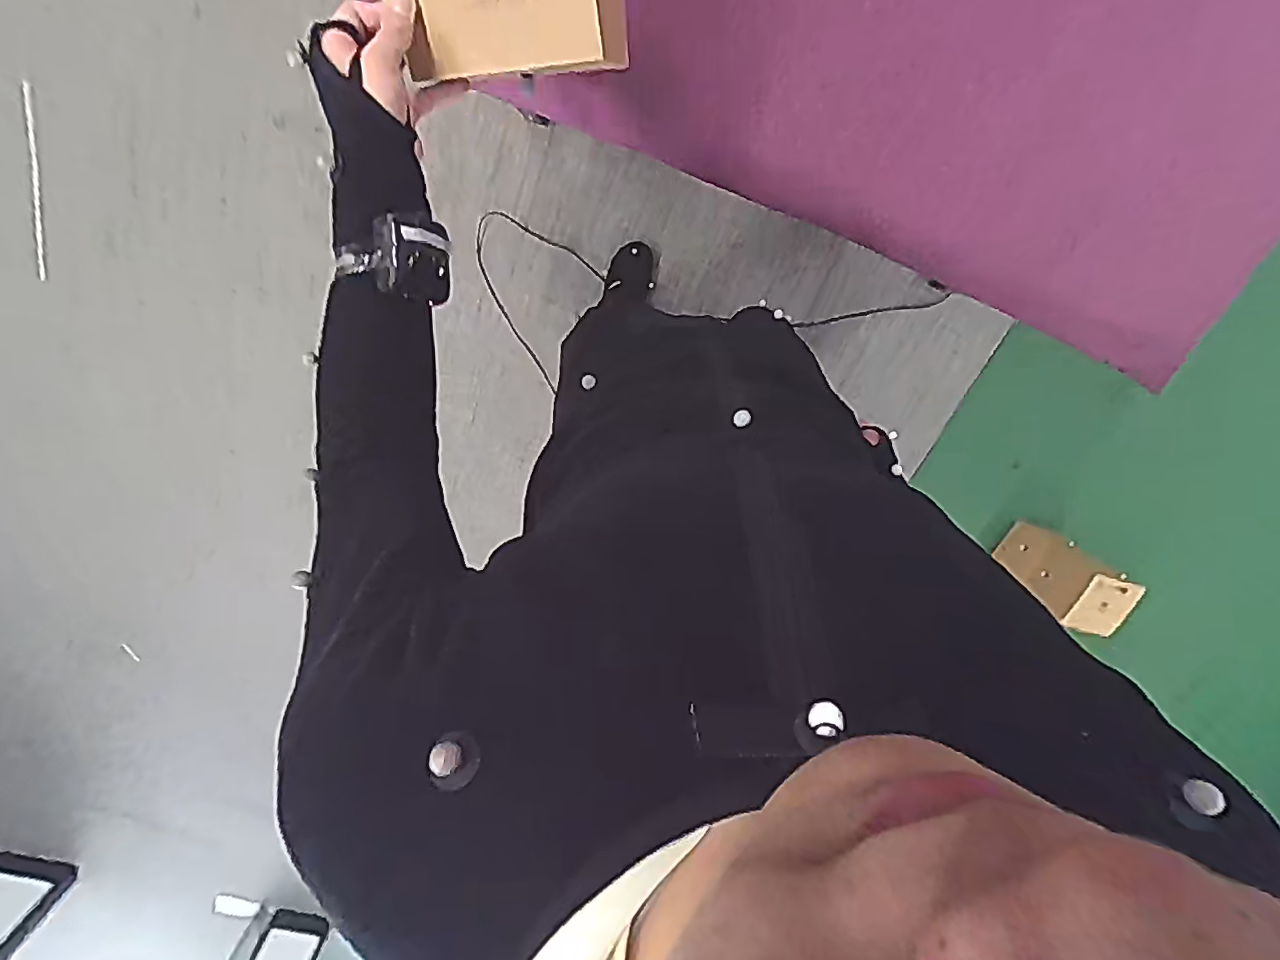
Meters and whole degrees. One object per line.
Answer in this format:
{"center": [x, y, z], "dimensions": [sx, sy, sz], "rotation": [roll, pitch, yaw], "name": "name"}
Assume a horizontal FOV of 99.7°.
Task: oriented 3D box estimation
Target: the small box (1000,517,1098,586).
{"center": [1.294, 0.238, 1.705], "dimensions": [0.179, 0.176, 0.168], "rotation": [18, 113, -8], "name": "small box"}

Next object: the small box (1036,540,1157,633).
{"center": [1.295, 0.303, 1.554], "dimensions": [0.168, 0.176, 0.179], "rotation": [15, 114, -7], "name": "small box"}

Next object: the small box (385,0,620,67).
{"center": [-0.112, -0.460, 0.450], "dimensions": [0.168, 0.176, 0.179], "rotation": [1, 127, 7], "name": "small box"}
